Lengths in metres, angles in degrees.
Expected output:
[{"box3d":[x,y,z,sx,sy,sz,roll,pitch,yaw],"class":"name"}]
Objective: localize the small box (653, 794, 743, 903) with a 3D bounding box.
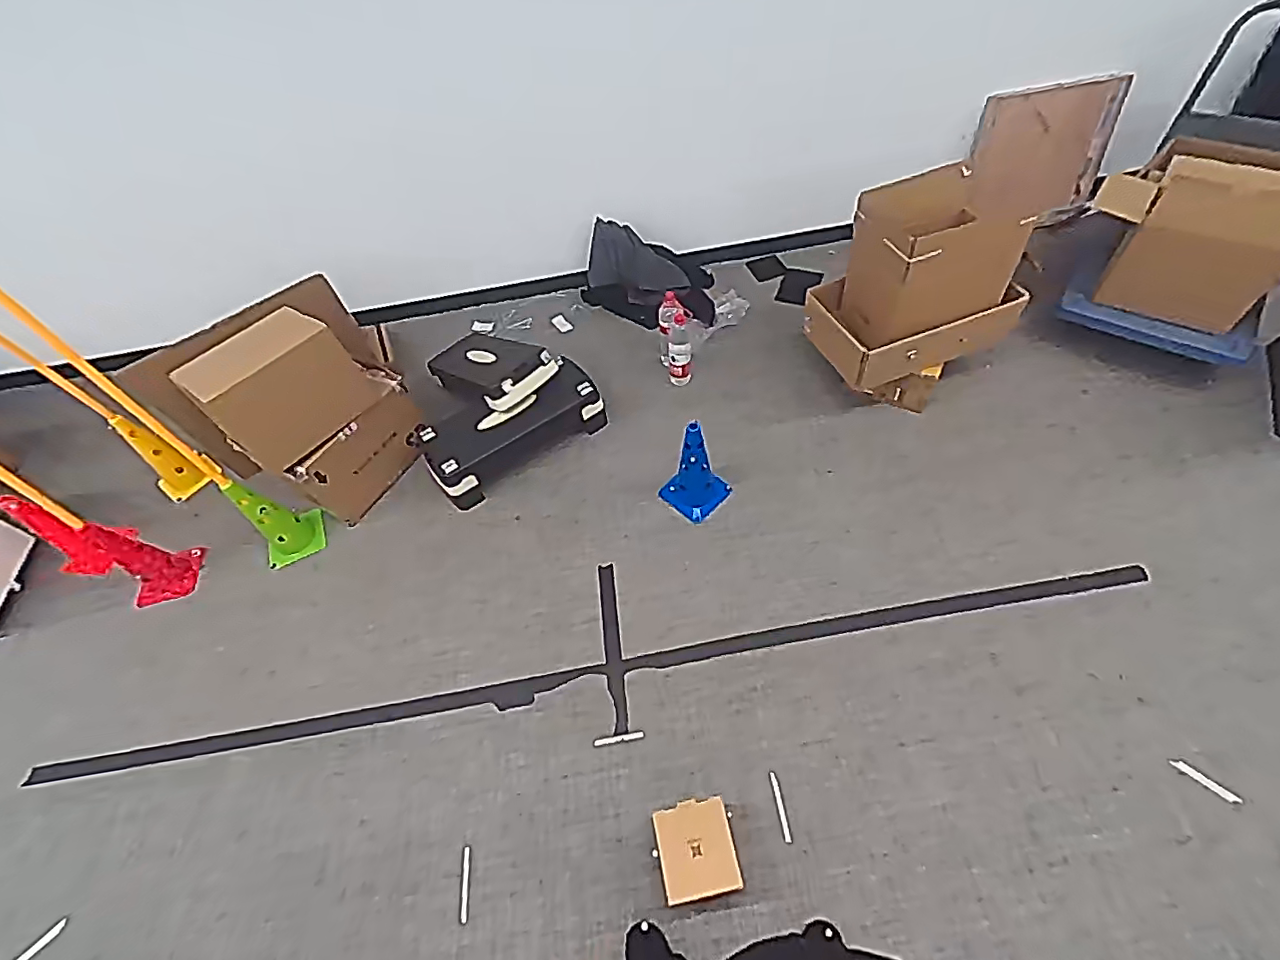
[{"box3d":[0.134,0.851,1.254,0.168,0.176,0.179,-13,54,-2],"class":"small box"}]
